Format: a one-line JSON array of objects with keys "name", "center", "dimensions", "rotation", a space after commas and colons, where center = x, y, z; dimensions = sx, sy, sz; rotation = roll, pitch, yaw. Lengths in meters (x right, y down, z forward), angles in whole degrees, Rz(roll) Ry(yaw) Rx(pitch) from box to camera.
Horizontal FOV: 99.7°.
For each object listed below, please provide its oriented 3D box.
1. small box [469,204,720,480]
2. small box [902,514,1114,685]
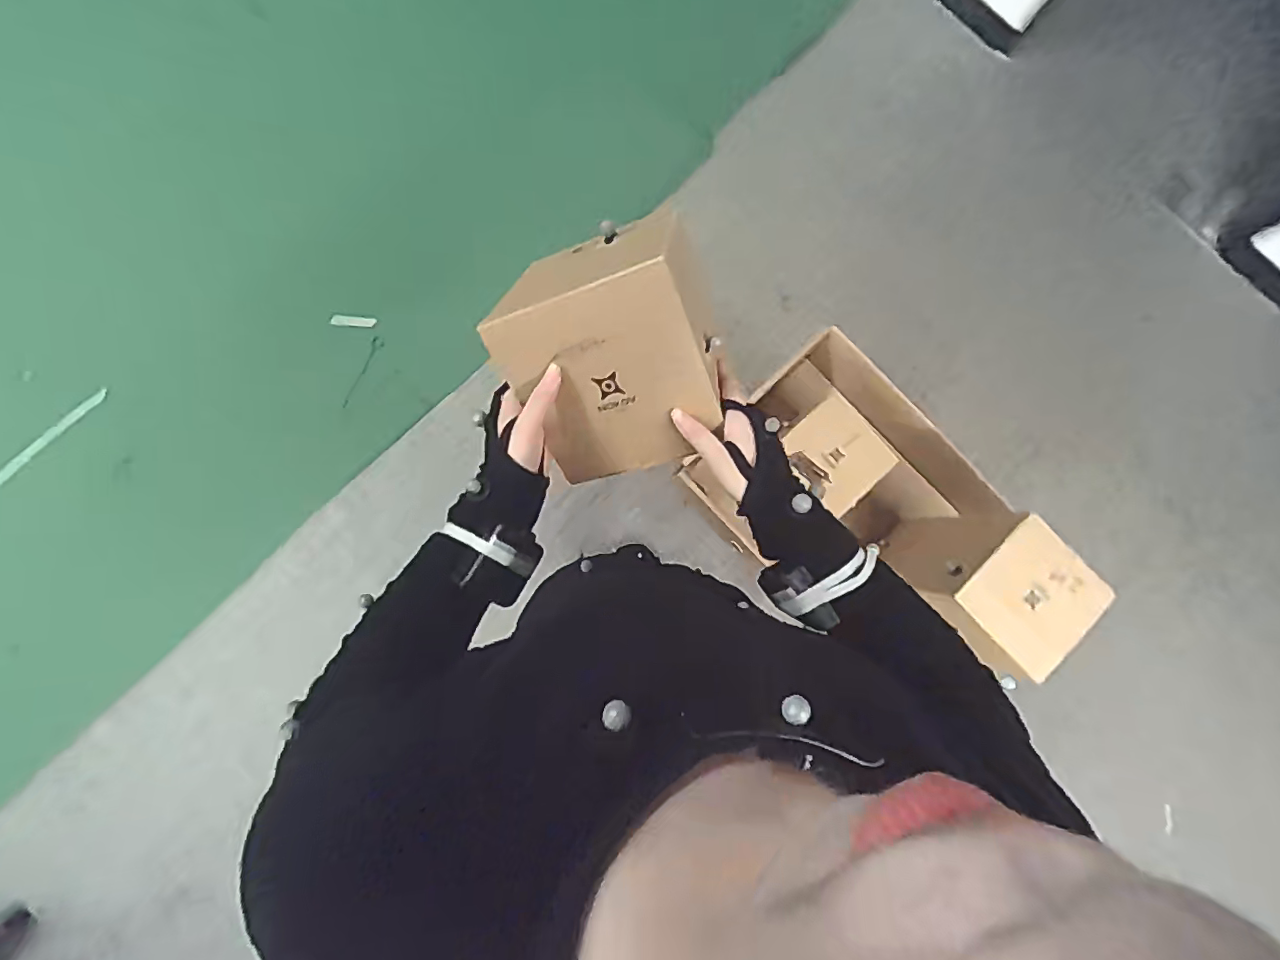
[{"name": "small box", "center": [-0.023, -0.130, 0.517], "dimensions": [0.168, 0.176, 0.179], "rotation": [-14, 126, 19]}, {"name": "small box", "center": [0.534, 0.171, 0.818], "dimensions": [0.179, 0.176, 0.168], "rotation": [-42, 88, -7]}]
